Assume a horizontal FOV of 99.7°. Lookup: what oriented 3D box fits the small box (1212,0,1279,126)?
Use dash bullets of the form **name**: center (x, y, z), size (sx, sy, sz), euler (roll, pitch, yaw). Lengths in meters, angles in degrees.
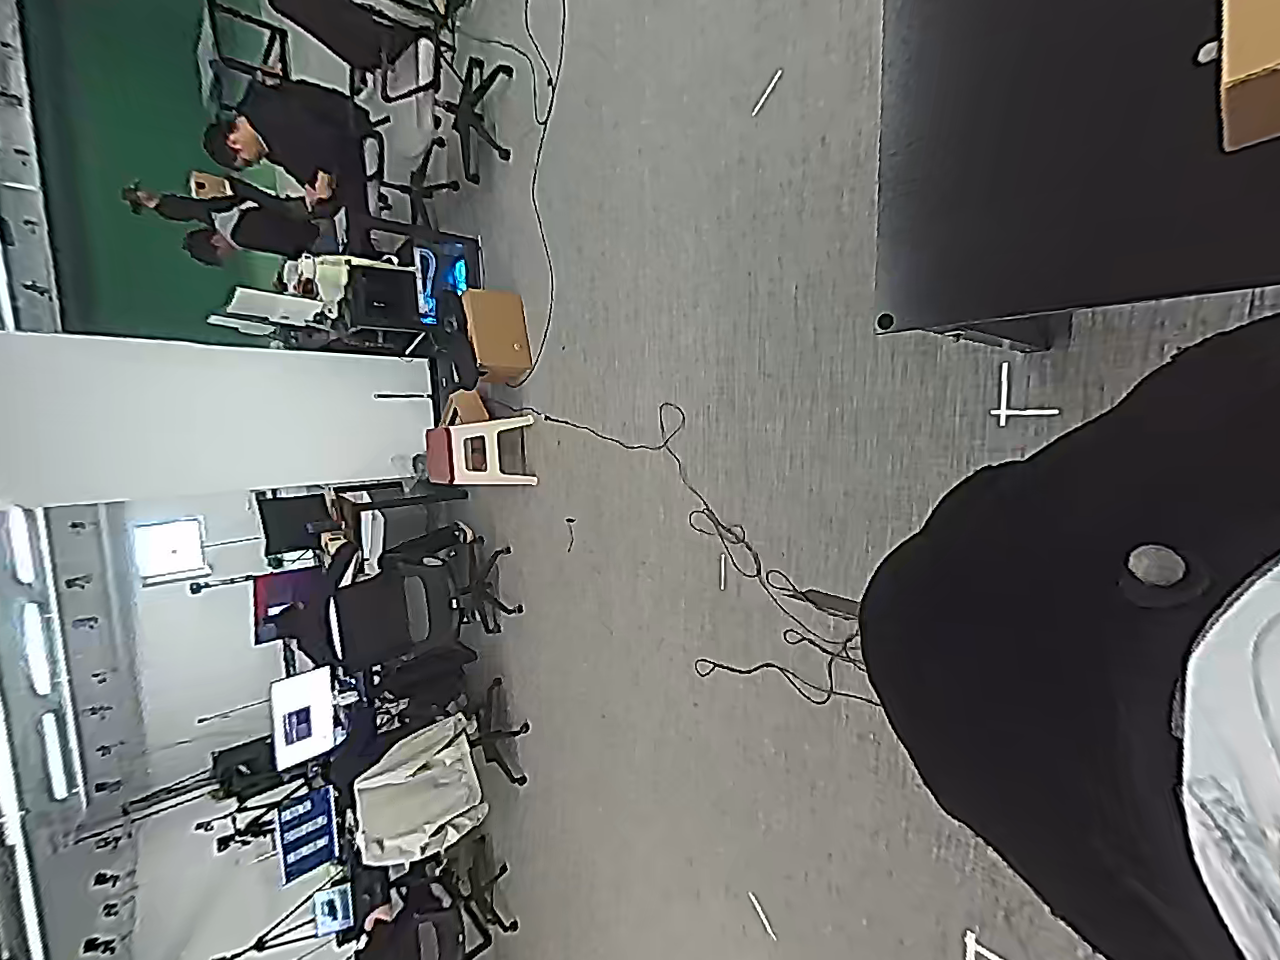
- **small box**: center (0.566, -0.408, 0.414), size (0.168, 0.176, 0.179), euler (0, 96, 49)
